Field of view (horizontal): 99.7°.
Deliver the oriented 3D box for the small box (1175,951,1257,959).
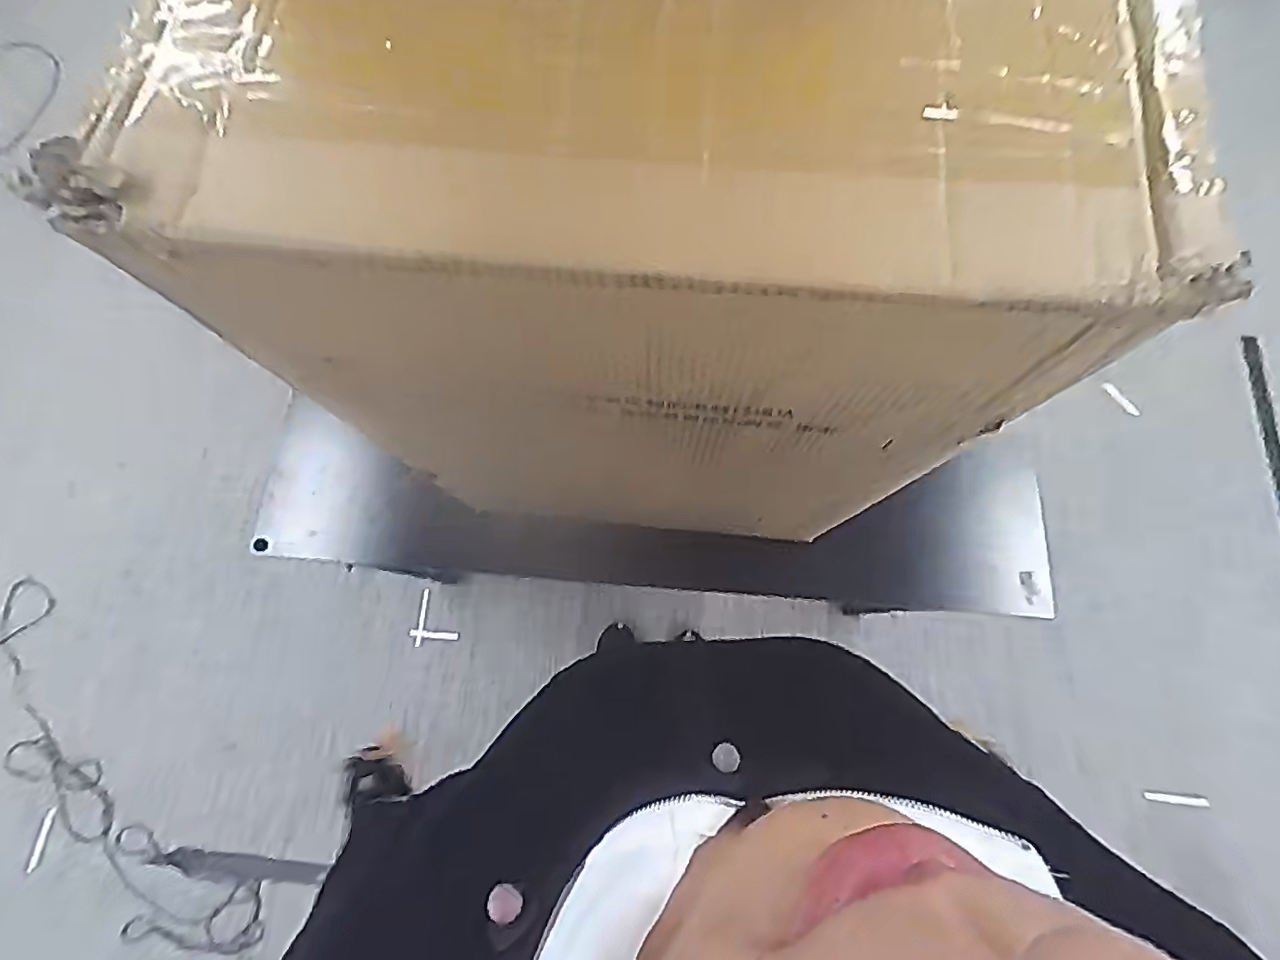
[{"bbox_3d":[1.334,1.159,1.166,0.179,0.176,0.168,-1,74,3],"label":"small box"}]
